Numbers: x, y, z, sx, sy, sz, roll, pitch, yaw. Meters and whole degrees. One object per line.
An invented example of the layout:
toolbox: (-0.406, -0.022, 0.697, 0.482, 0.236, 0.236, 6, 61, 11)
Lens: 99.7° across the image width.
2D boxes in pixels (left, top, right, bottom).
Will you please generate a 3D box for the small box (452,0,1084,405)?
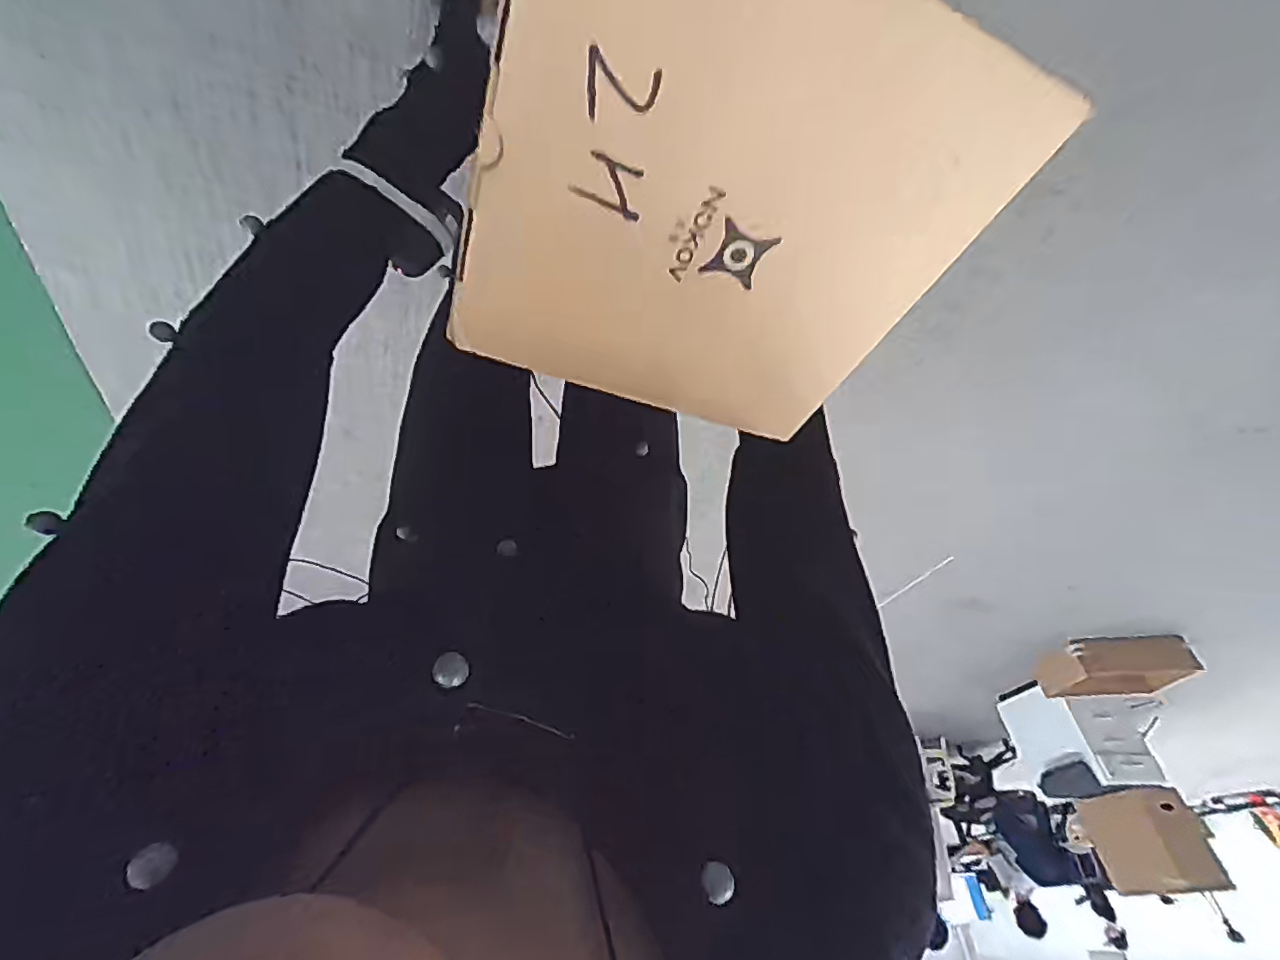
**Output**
small box: (0.030, -0.168, 0.248, 0.179, 0.176, 0.168, 15, 138, -19)
